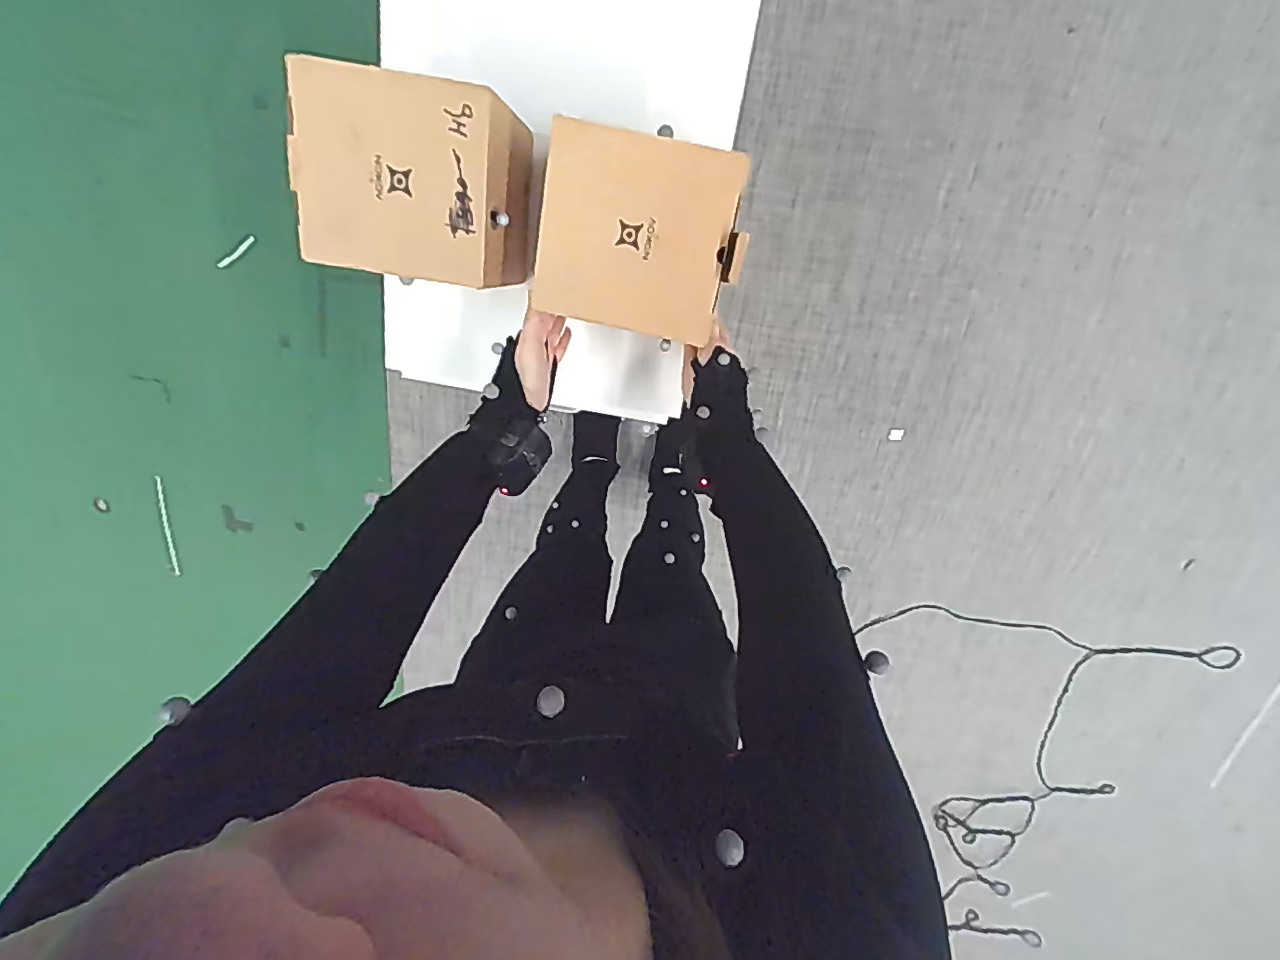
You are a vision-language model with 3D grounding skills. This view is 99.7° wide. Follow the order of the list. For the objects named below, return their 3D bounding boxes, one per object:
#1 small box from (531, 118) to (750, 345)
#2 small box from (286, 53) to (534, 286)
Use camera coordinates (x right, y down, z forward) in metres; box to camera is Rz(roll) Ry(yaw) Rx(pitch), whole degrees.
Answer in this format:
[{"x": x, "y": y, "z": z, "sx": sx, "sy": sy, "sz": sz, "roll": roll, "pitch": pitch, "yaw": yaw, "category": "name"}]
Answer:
[{"x": 0.000, "y": -0.246, "z": 0.565, "sx": 0.179, "sy": 0.176, "sz": 0.168, "roll": 11, "pitch": 110, "yaw": -1, "category": "small box"}, {"x": -0.220, "y": -0.300, "z": 0.556, "sx": 0.179, "sy": 0.176, "sz": 0.168, "roll": 9, "pitch": 112, "yaw": -1, "category": "small box"}]
